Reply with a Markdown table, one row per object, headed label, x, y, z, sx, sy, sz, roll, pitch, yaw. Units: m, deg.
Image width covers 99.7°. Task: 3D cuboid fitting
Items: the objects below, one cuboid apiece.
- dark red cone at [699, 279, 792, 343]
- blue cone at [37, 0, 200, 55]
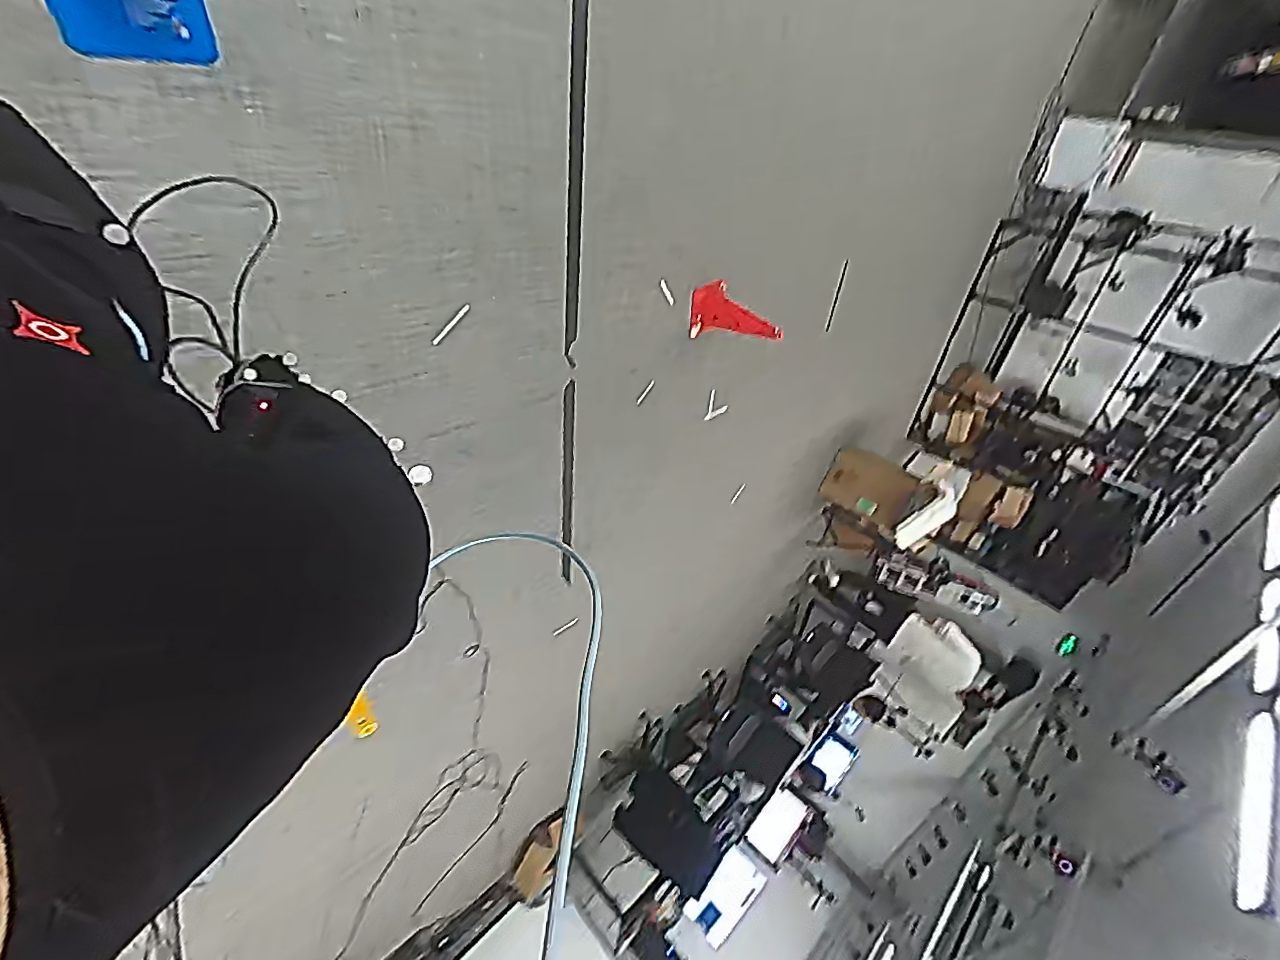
| label | x | y | z | sx | sy | sz | roll | pitch | yaw |
| --- | --- | --- | --- | --- | --- | --- | --- | --- | --- |
| dark red cone | 0.418 | -0.616 | 2.086 | 0.201 | 0.394 | 0.202 | -31 | 140 | -30 |
| blue cone | -0.679 | -0.676 | 0.710 | 0.192 | 0.380 | 0.193 | -25 | 136 | -36 |
